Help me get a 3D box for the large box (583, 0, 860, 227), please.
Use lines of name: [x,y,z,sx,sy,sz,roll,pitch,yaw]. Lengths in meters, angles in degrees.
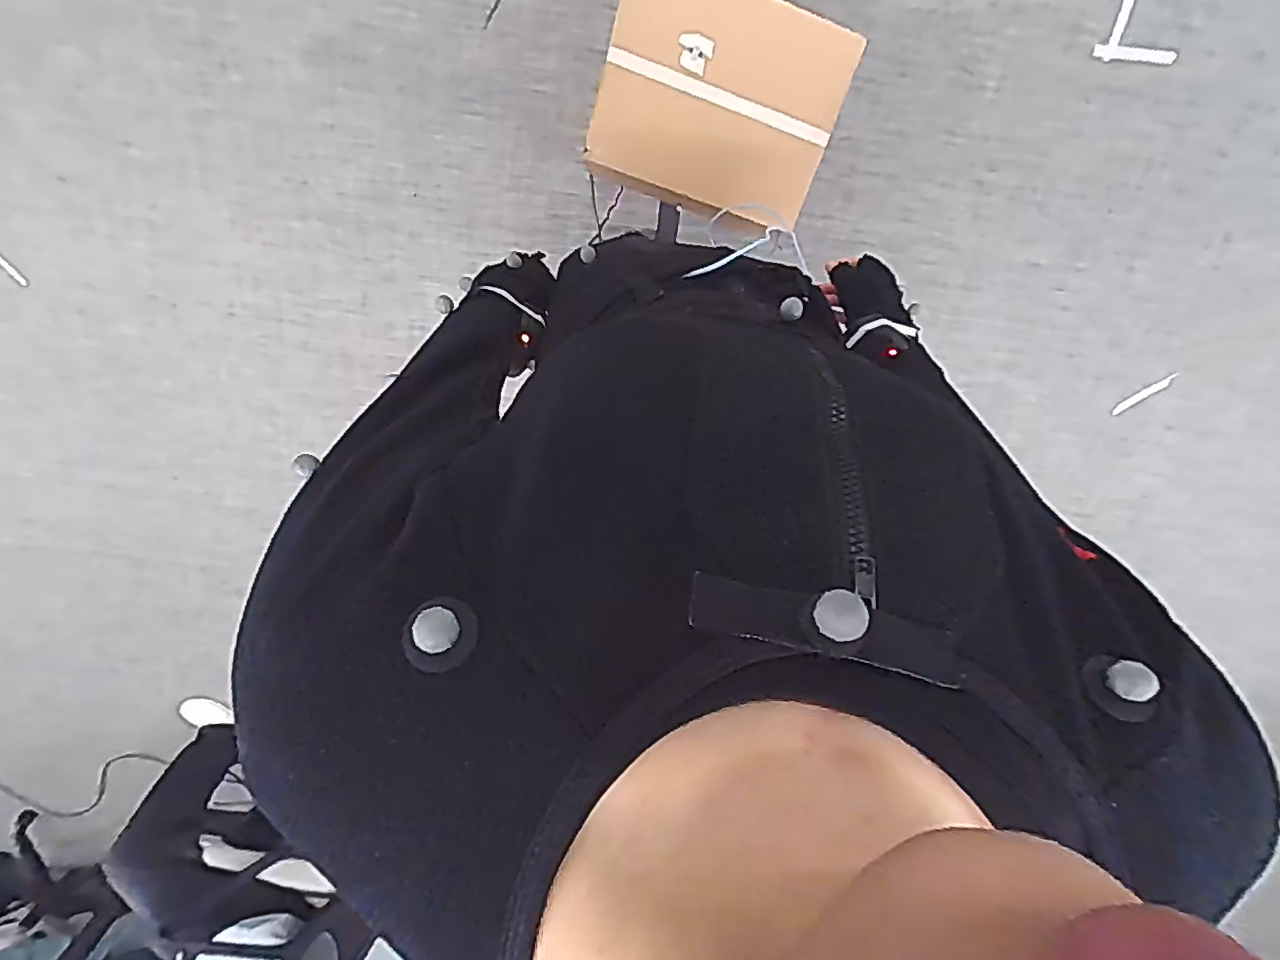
large box: [0.131,-0.718,1.058,0.408,0.320,0.320,17,112,-9]
